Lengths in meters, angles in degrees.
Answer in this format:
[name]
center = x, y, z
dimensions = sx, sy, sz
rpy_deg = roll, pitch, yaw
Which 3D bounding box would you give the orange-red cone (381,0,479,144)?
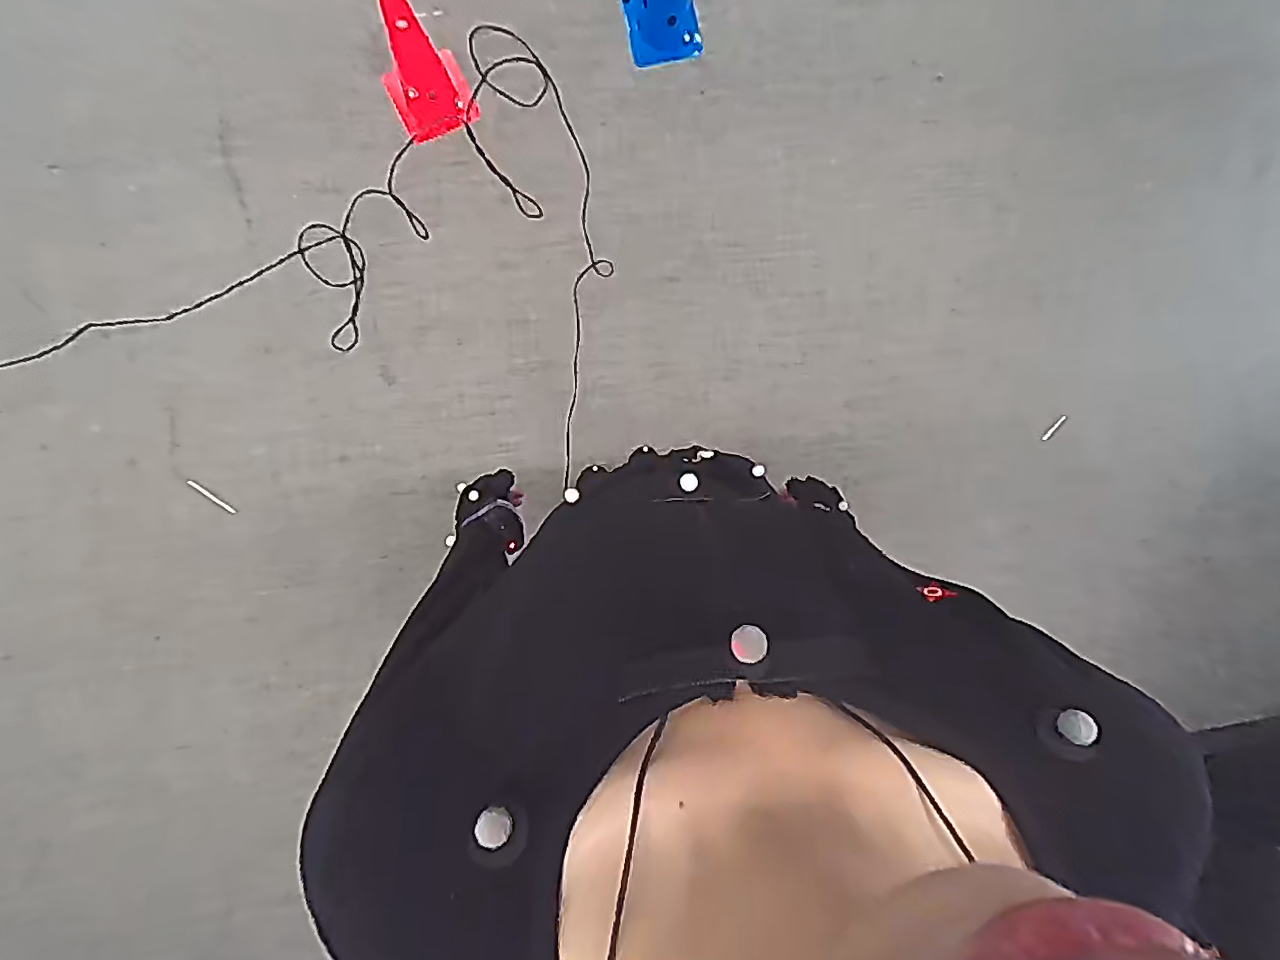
[orange-red cone]
center = -0.534, -1.012, 1.266
dimensions = 0.198, 0.360, 0.199
rpy_deg = -26, 92, -5
